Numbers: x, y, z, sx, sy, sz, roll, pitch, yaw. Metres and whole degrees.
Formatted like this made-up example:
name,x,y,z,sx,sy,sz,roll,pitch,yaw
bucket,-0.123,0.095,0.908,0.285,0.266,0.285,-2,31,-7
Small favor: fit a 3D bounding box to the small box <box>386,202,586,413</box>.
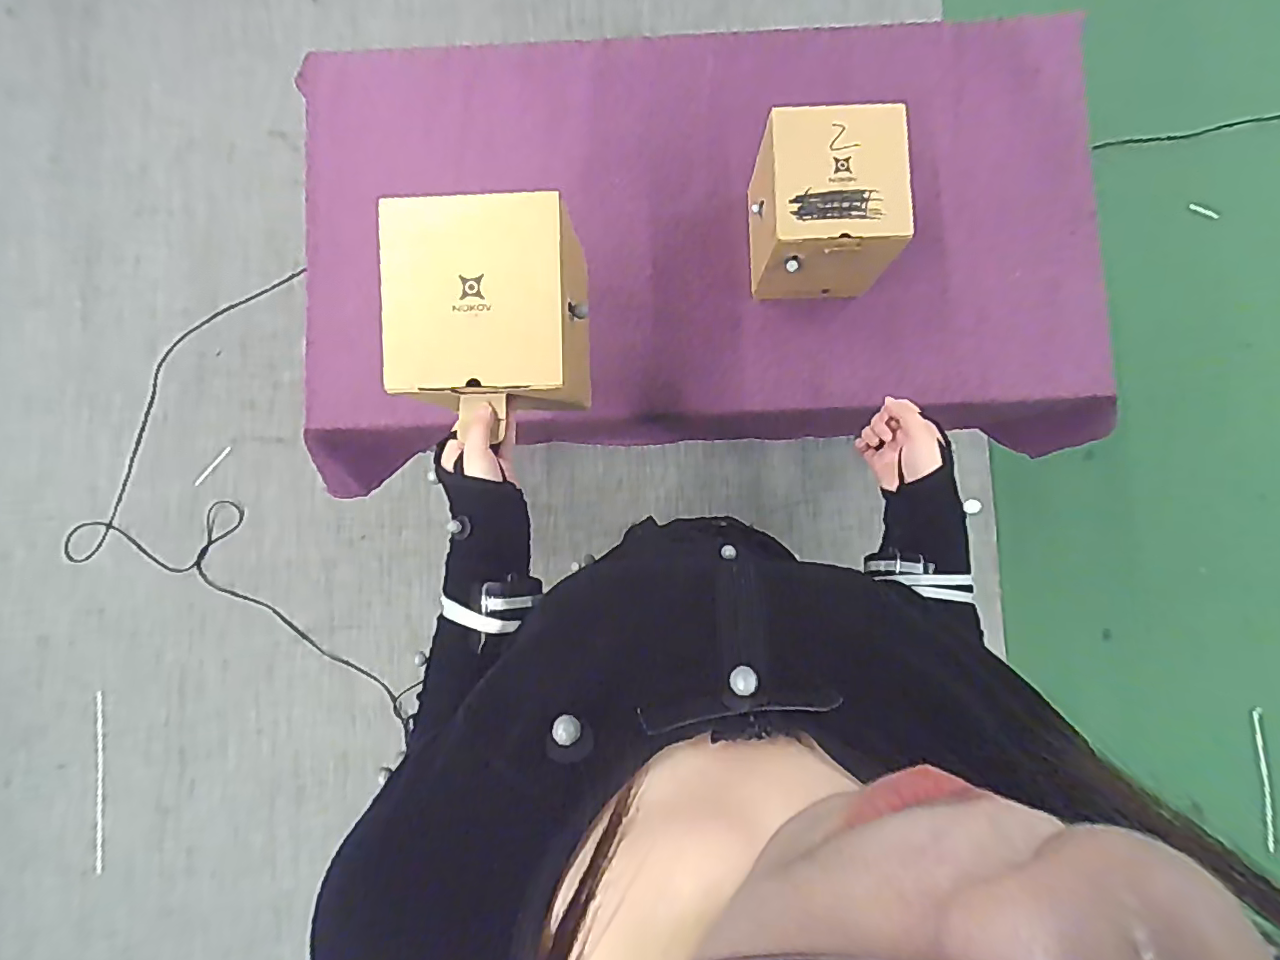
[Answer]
name,x,y,z,sx,sy,sz,roll,pitch,yaw
small box,-0.152,-0.170,0.580,0.168,0.176,0.179,-1,91,3
